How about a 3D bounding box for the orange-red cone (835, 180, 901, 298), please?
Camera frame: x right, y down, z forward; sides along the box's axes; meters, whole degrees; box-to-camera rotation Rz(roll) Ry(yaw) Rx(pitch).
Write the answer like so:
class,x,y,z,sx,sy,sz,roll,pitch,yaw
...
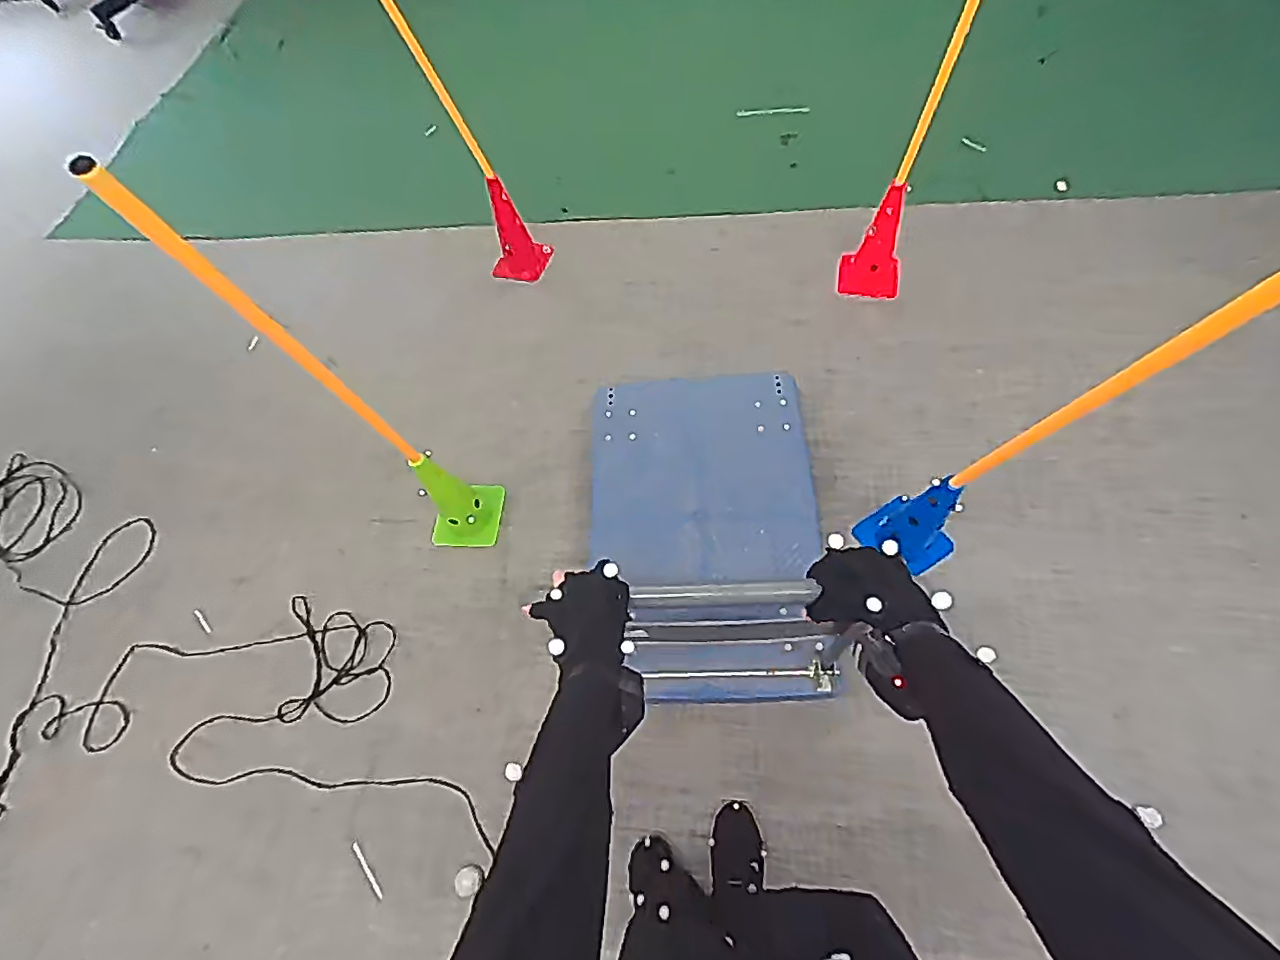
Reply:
class,x,y,z,sx,sy,sz,roll,pitch,yaw
orange-red cone,0.776,-0.796,1.752,0.198,0.360,0.199,11,66,13
